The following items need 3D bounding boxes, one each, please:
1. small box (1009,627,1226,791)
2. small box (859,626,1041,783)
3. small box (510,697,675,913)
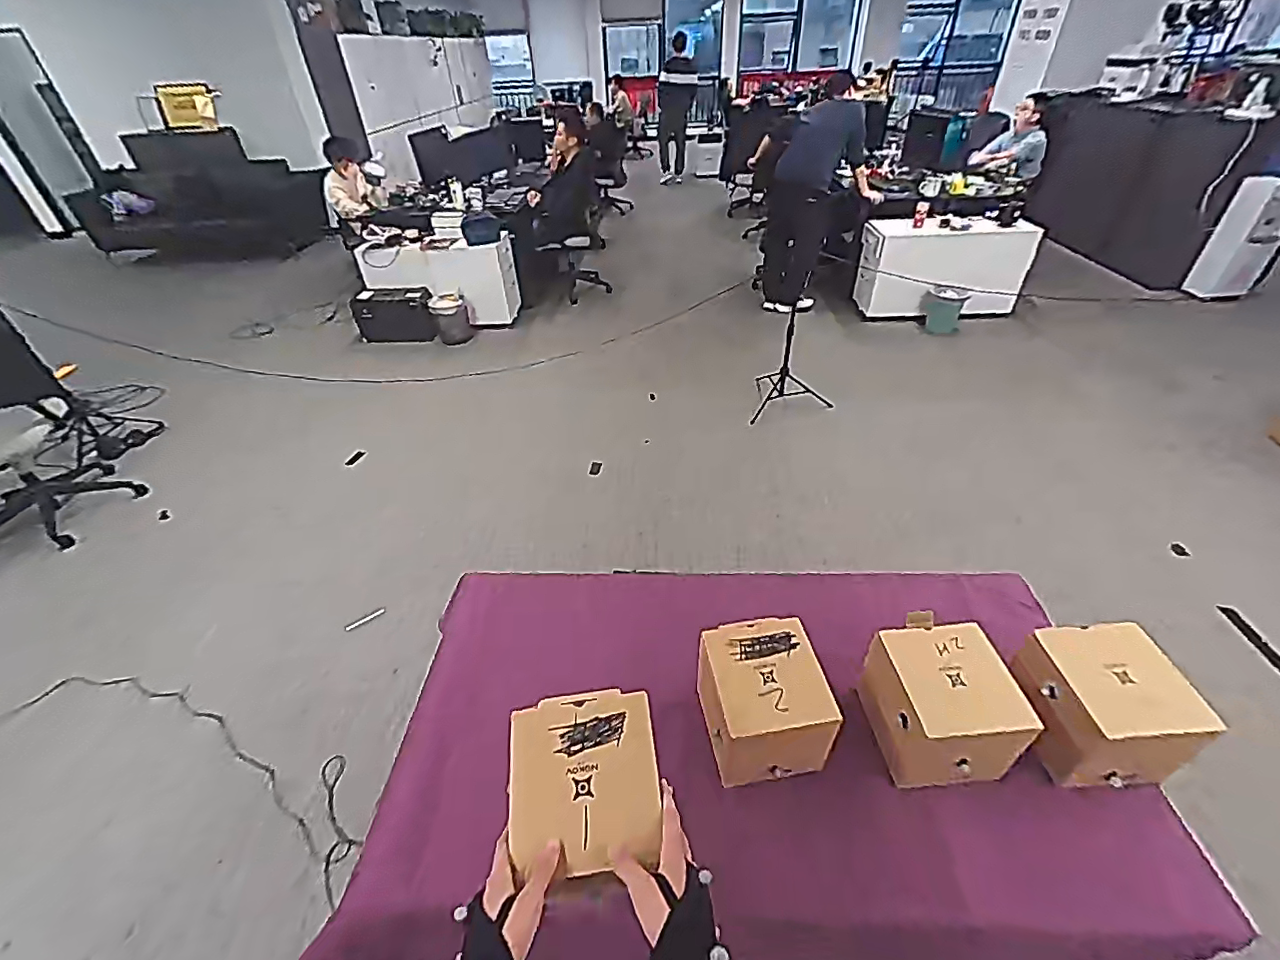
[{"bbox_3d":[0.708,0.354,0.840,0.168,0.176,0.179,-4,38,1],"label":"small box"},{"bbox_3d":[0.469,0.357,0.852,0.168,0.176,0.179,-4,38,-1],"label":"small box"},{"bbox_3d":[-0.053,0.388,0.647,0.168,0.176,0.179,-8,47,-3],"label":"small box"}]
